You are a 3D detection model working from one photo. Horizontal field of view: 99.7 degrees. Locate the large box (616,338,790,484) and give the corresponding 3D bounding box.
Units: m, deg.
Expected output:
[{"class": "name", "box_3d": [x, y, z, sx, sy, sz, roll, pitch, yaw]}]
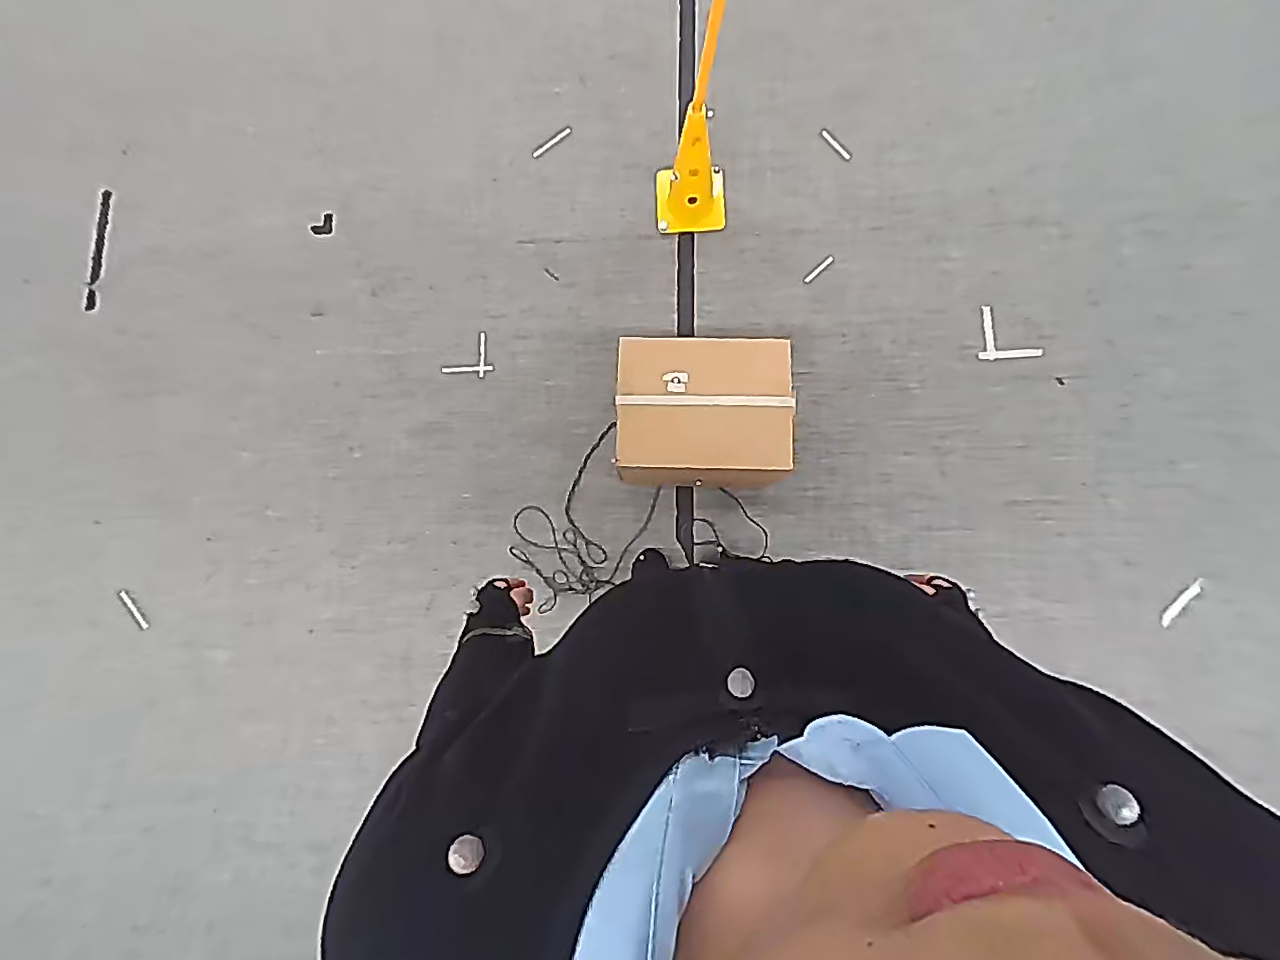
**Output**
[{"class": "large box", "box_3d": [0.151, -0.160, 1.404, 0.408, 0.320, 0.320, 0, 81, 2]}]
